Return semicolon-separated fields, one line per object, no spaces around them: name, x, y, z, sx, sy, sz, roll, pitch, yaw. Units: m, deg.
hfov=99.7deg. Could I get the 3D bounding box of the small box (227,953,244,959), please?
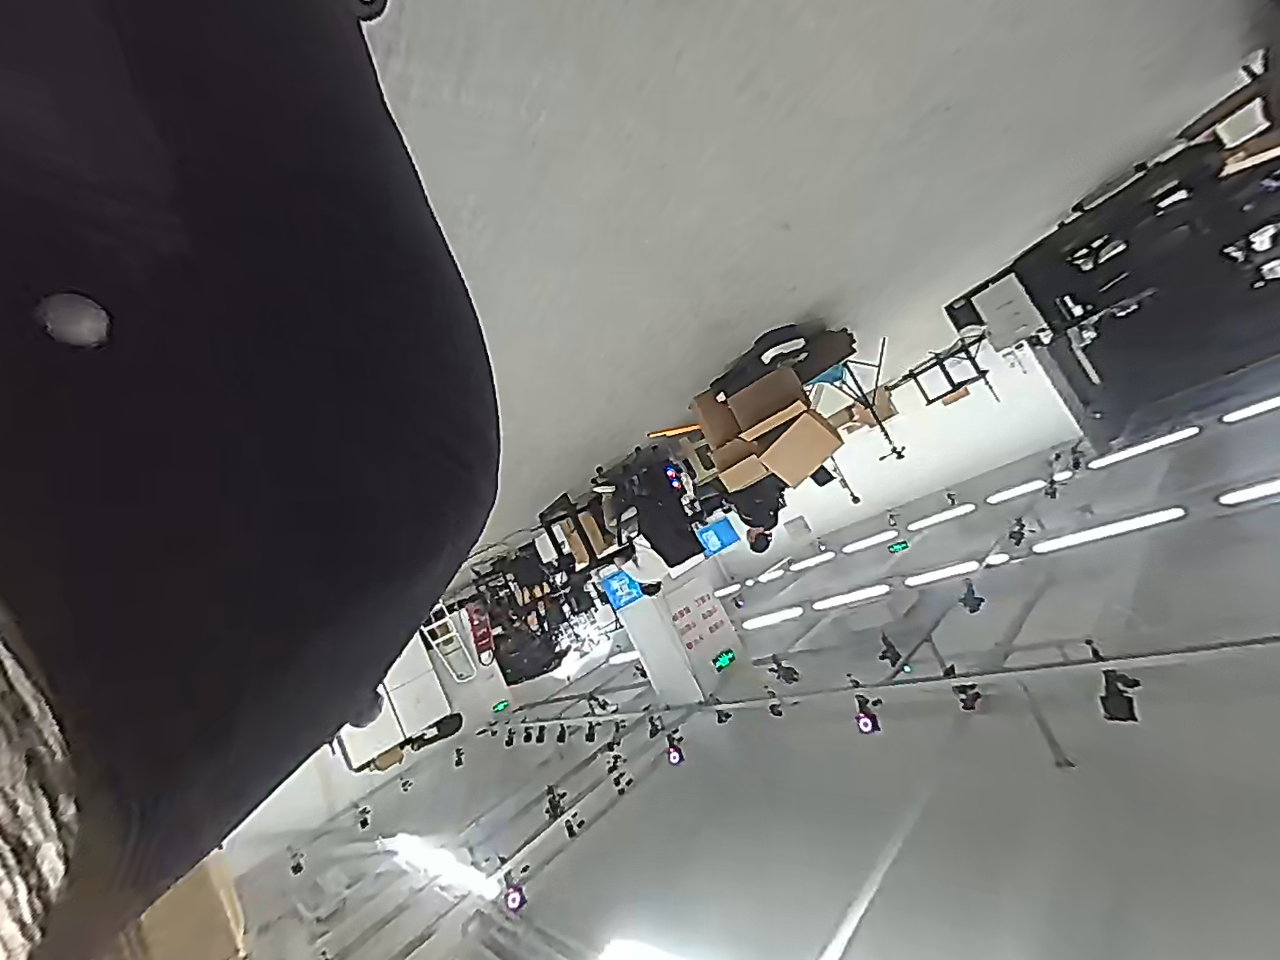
small box;-1.326;1.647;1.693;0.168;0.176;0.179;-24;170;-36
